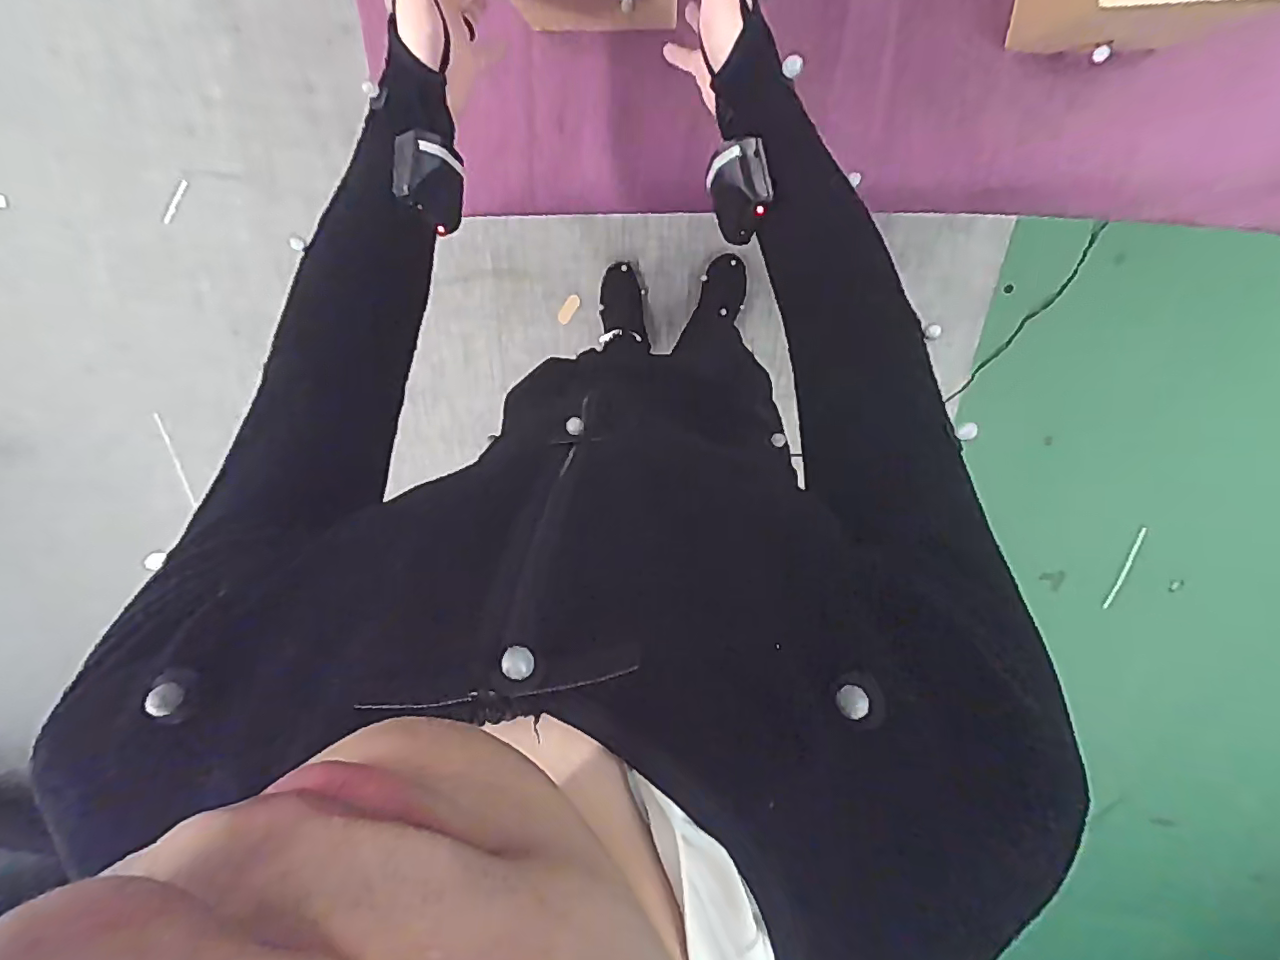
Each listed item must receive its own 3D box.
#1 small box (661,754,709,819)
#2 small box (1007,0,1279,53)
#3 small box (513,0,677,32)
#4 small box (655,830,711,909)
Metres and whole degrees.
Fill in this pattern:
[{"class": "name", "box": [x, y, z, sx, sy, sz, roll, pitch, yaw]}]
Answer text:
[{"class": "small box", "box": [0.190, 1.276, 2.259, 0.179, 0.176, 0.168, 8, 117, 3]}, {"class": "small box", "box": [0.506, -0.536, 0.521, 0.179, 0.176, 0.168, 2, 116, 5]}, {"class": "small box", "box": [-0.046, -0.586, 0.553, 0.179, 0.176, 0.168, 3, 116, 4]}, {"class": "small box", "box": [0.155, 1.406, 1.960, 0.179, 0.176, 0.168, 10, 116, 2]}]
